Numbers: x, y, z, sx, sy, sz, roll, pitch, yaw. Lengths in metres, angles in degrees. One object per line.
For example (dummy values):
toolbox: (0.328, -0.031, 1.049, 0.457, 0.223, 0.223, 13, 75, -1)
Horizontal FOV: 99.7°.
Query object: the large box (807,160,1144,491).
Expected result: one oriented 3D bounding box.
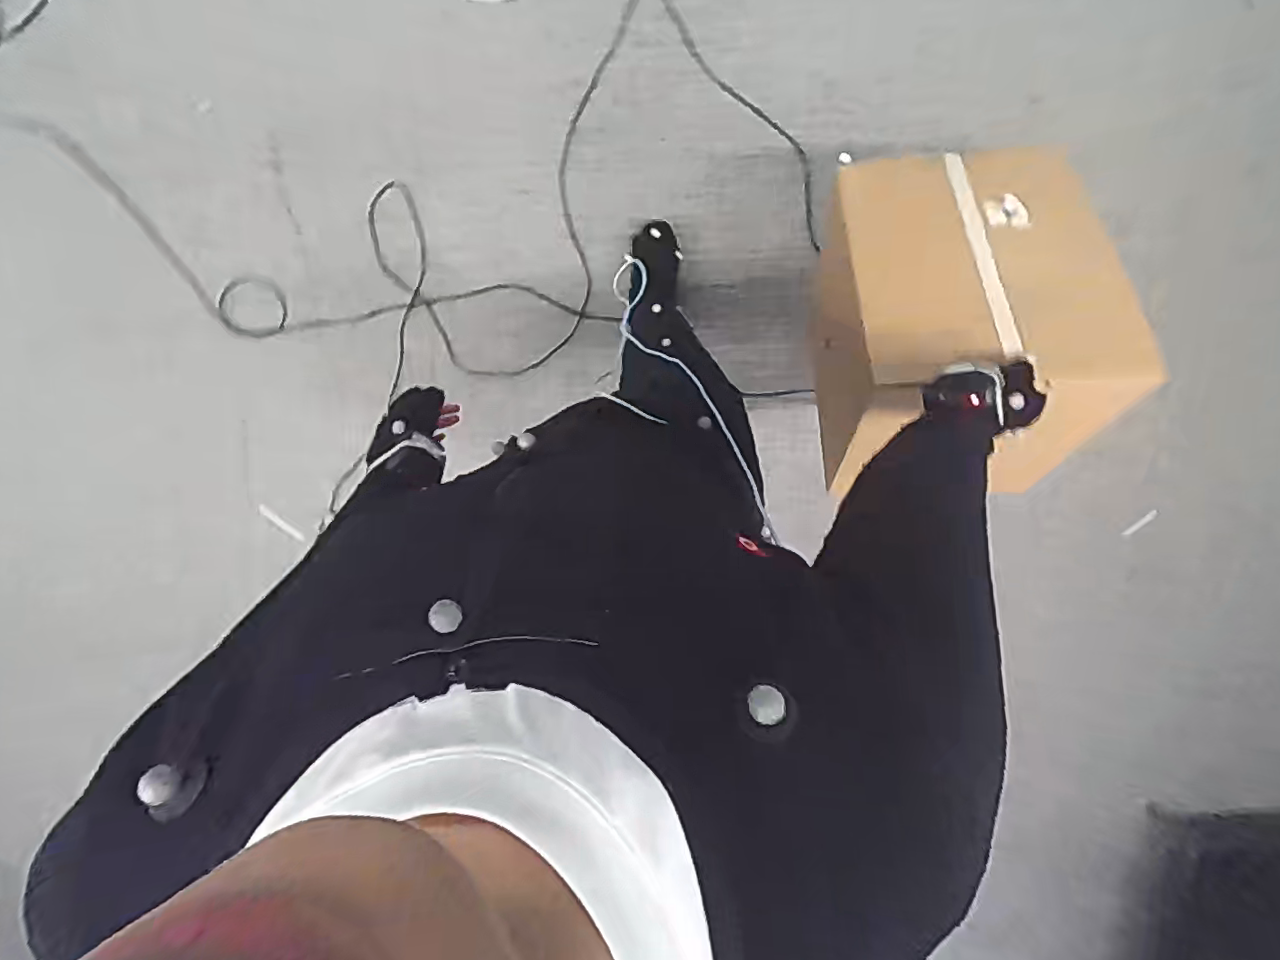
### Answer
large box: (0.458, -0.227, 0.860, 0.320, 0.320, 0.408, 0, 63, 7)
